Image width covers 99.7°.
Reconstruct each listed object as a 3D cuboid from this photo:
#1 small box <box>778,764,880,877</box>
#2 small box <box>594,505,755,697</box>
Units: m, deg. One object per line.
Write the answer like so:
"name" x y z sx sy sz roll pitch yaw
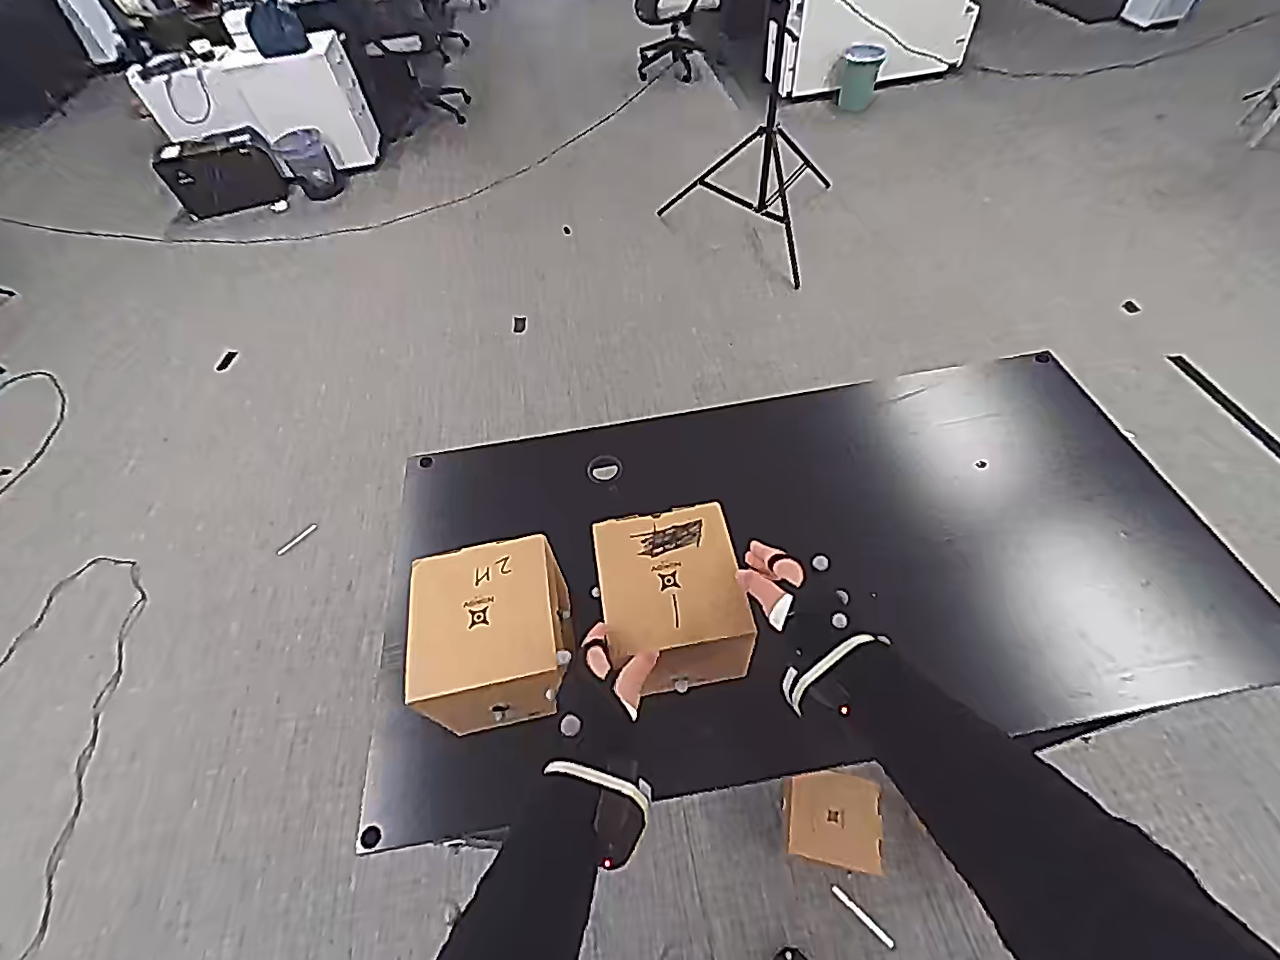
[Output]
"small box" 0.398 0.727 1.157 0.179 0.176 0.168 7 55 11
"small box" 0.039 0.159 0.698 0.168 0.176 0.179 -10 55 -1
